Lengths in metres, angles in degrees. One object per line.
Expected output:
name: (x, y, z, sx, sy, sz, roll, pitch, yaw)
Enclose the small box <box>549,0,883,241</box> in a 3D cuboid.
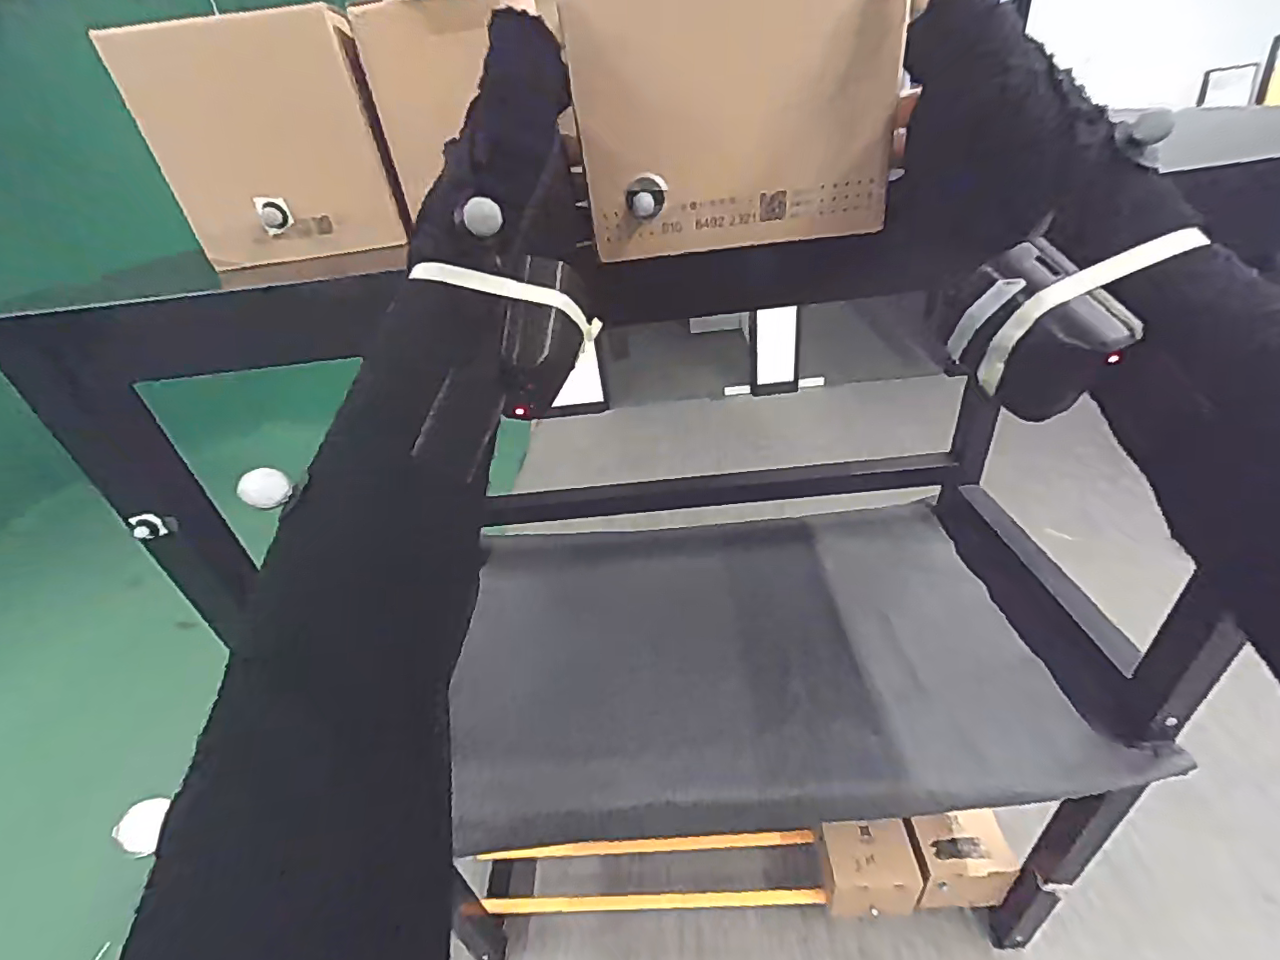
small box: (0.047, -0.256, 0.340, 0.168, 0.176, 0.179, -3, 33, 8)
